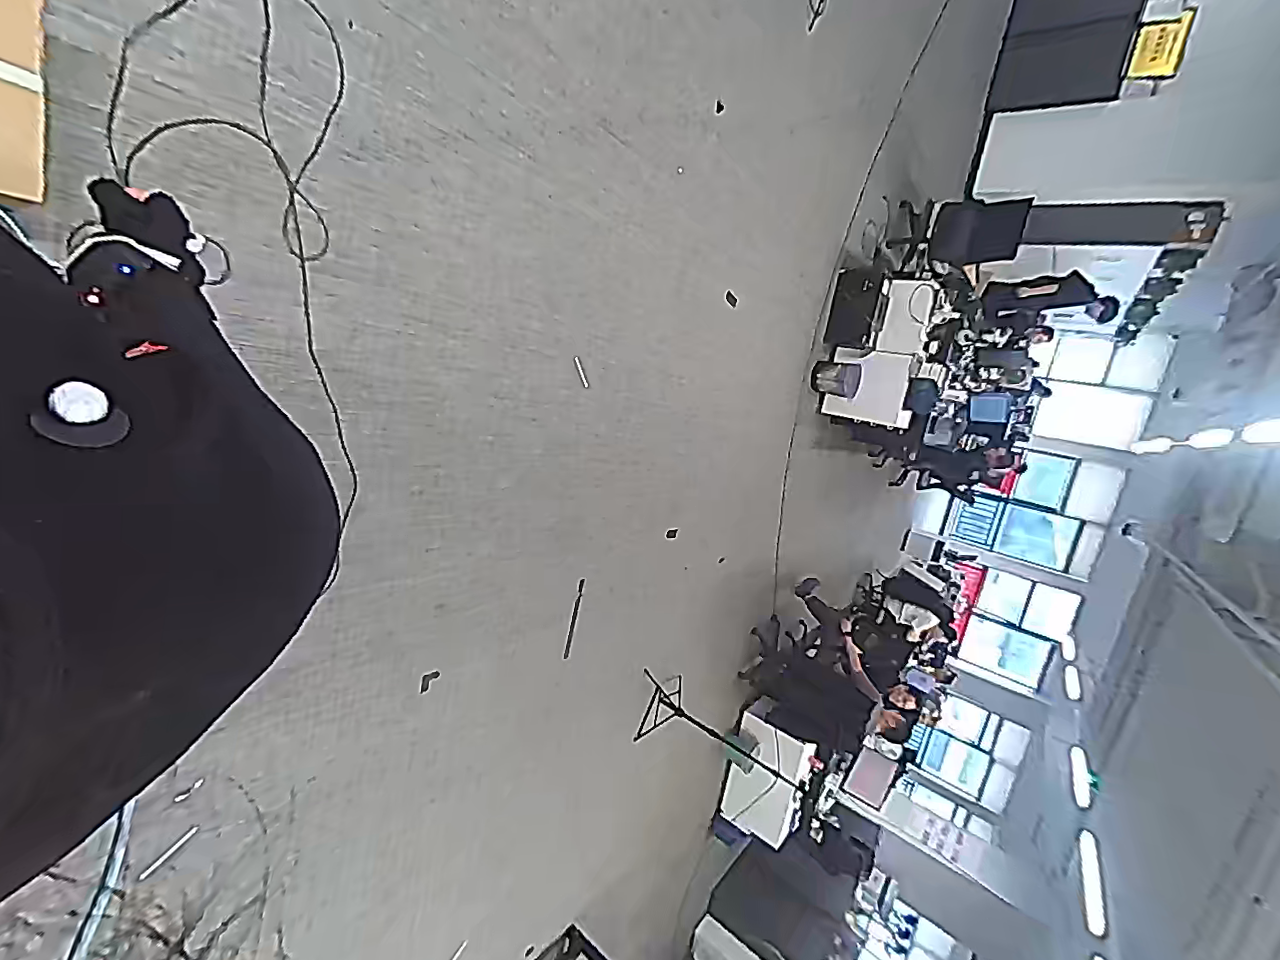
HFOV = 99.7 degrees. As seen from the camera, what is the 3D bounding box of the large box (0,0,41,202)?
[{"bbox_3d":[-1.072,-0.584,0.674,0.408,0.320,0.320,-3,108,-54],"label":"large box"}]
